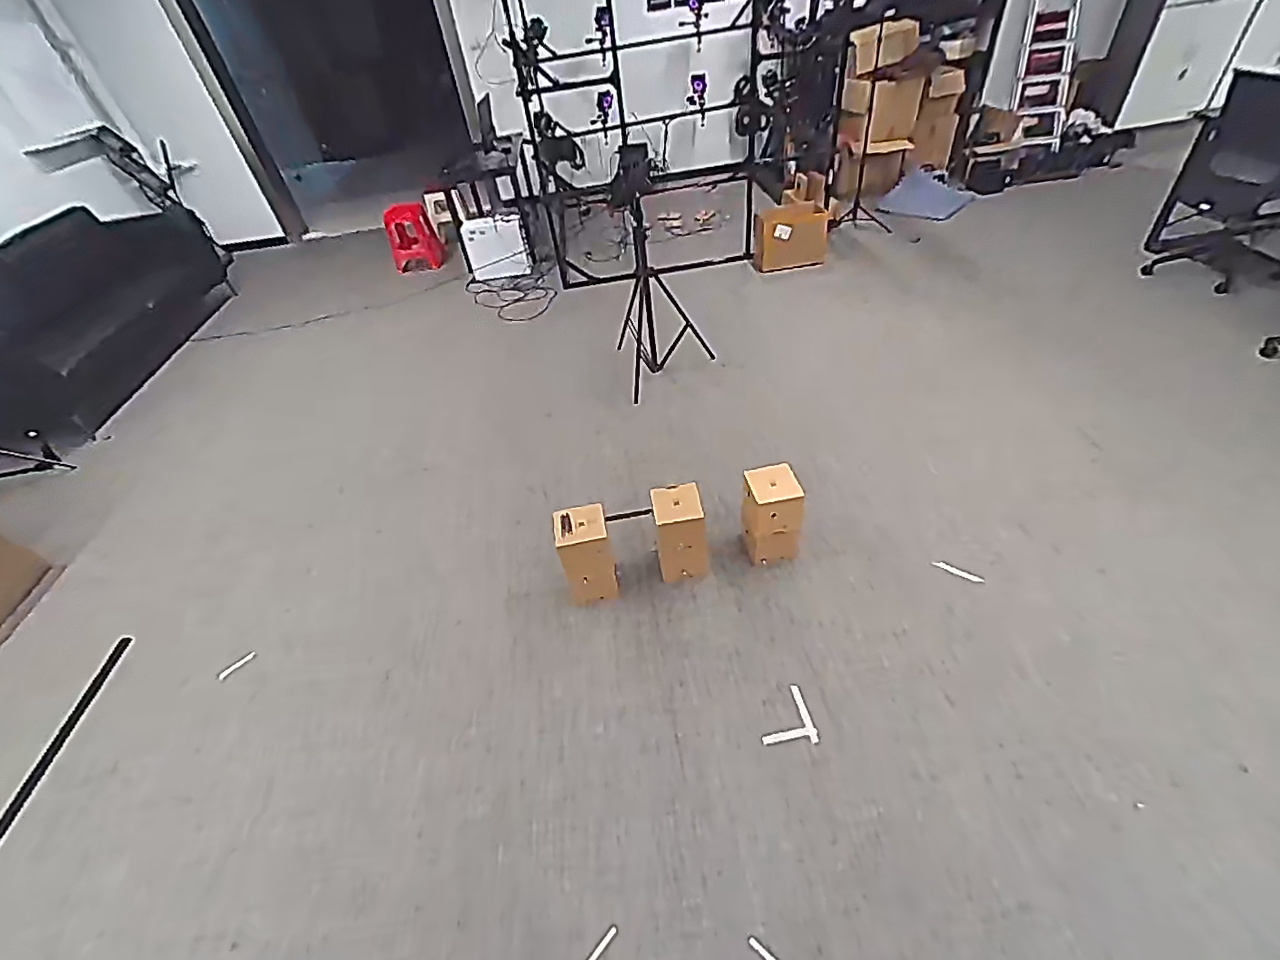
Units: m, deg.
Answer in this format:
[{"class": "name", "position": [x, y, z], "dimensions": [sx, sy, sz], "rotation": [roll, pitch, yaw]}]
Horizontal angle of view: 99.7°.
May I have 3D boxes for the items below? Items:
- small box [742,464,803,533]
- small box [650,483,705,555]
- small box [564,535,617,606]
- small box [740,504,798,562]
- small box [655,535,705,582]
[{"class": "small box", "position": [0.466, 0.072, 1.916], "dimensions": [0.168, 0.176, 0.179], "rotation": [-11, 41, -3]}, {"class": "small box", "position": [0.130, 0.138, 1.895], "dimensions": [0.168, 0.176, 0.179], "rotation": [-10, 42, 0]}, {"class": "small box", "position": [-0.182, 0.333, 1.981], "dimensions": [0.168, 0.176, 0.179], "rotation": [-11, 42, -1]}, {"class": "small box", "position": [0.480, 0.191, 2.025], "dimensions": [0.168, 0.176, 0.179], "rotation": [-11, 42, -3]}, {"class": "small box", "position": [0.146, 0.254, 2.009], "dimensions": [0.168, 0.176, 0.179], "rotation": [-9, 43, -1]}]
